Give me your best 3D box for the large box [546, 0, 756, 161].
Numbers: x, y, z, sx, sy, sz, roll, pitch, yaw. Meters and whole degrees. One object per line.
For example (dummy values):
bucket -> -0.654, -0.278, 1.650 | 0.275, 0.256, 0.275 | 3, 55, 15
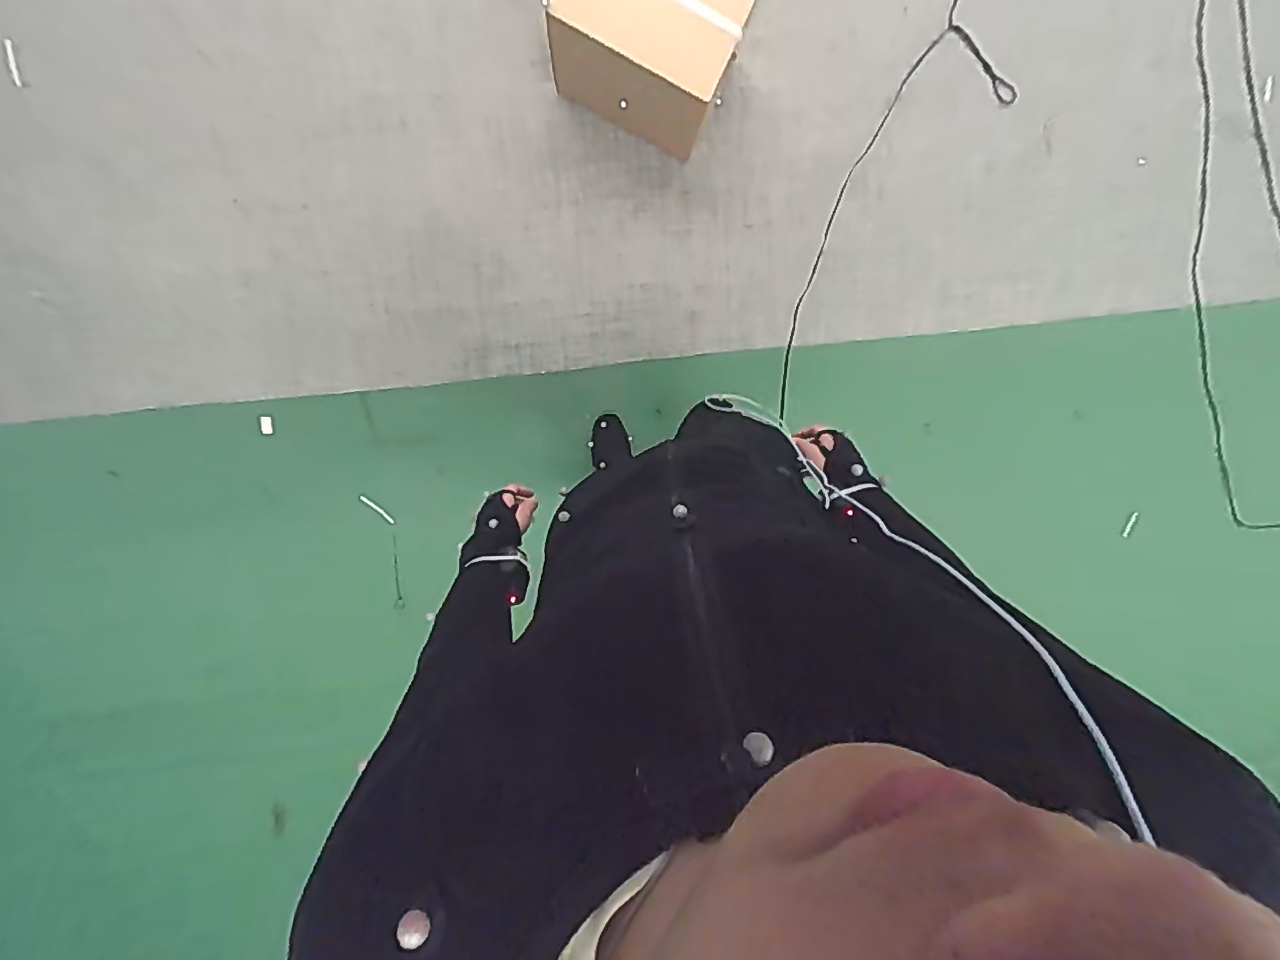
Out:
large box -> 0.028, -1.081, 1.336 | 0.408, 0.320, 0.320 | 24, 95, -6
